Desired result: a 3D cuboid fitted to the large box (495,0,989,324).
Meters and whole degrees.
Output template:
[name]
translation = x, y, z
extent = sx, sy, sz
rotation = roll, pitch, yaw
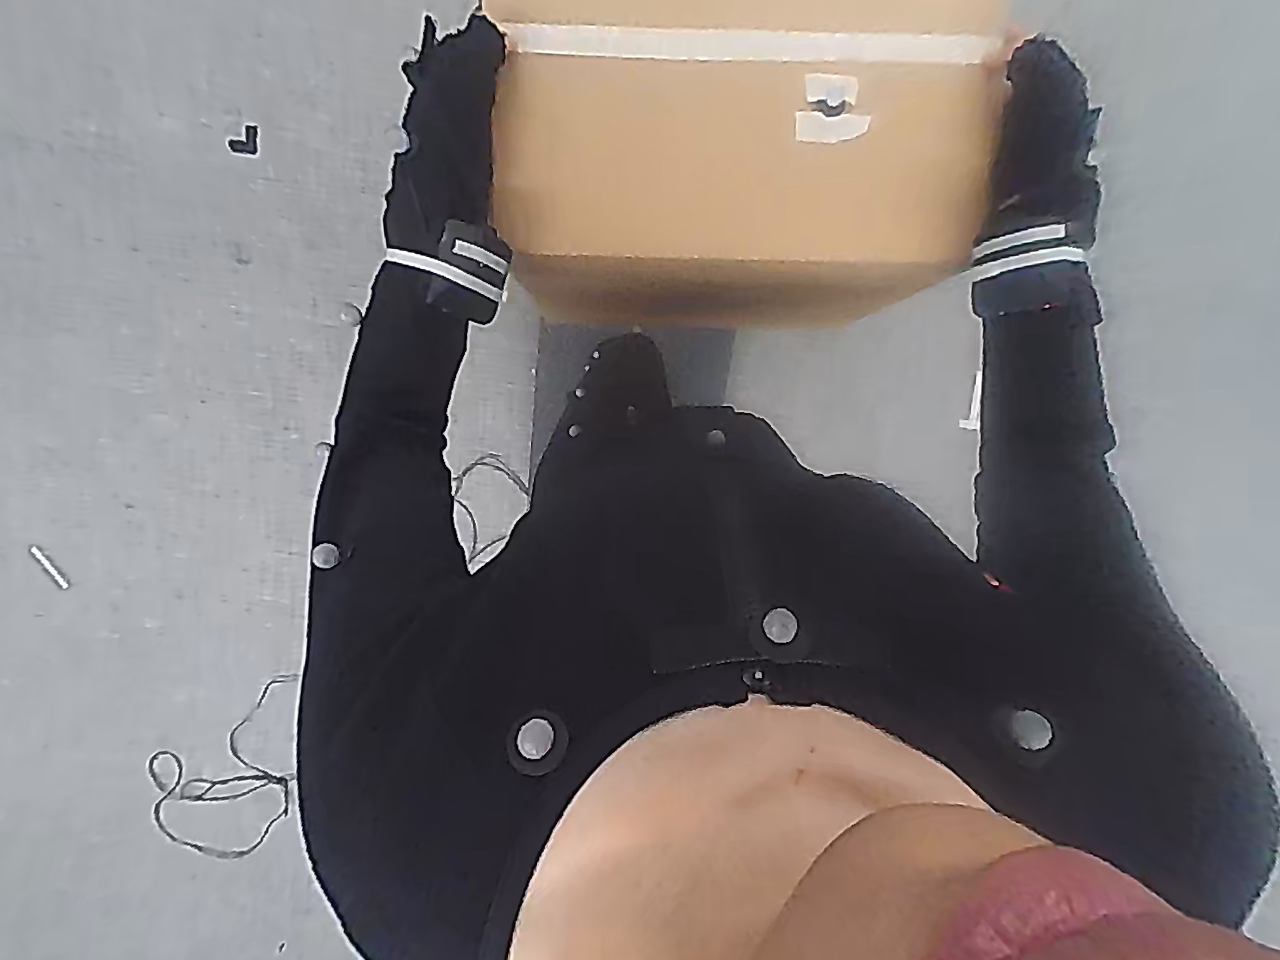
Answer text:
[large box]
translation = 0.077, -0.356, 0.585
extent = 0.408, 0.320, 0.320
rotation = 1, 96, -1
